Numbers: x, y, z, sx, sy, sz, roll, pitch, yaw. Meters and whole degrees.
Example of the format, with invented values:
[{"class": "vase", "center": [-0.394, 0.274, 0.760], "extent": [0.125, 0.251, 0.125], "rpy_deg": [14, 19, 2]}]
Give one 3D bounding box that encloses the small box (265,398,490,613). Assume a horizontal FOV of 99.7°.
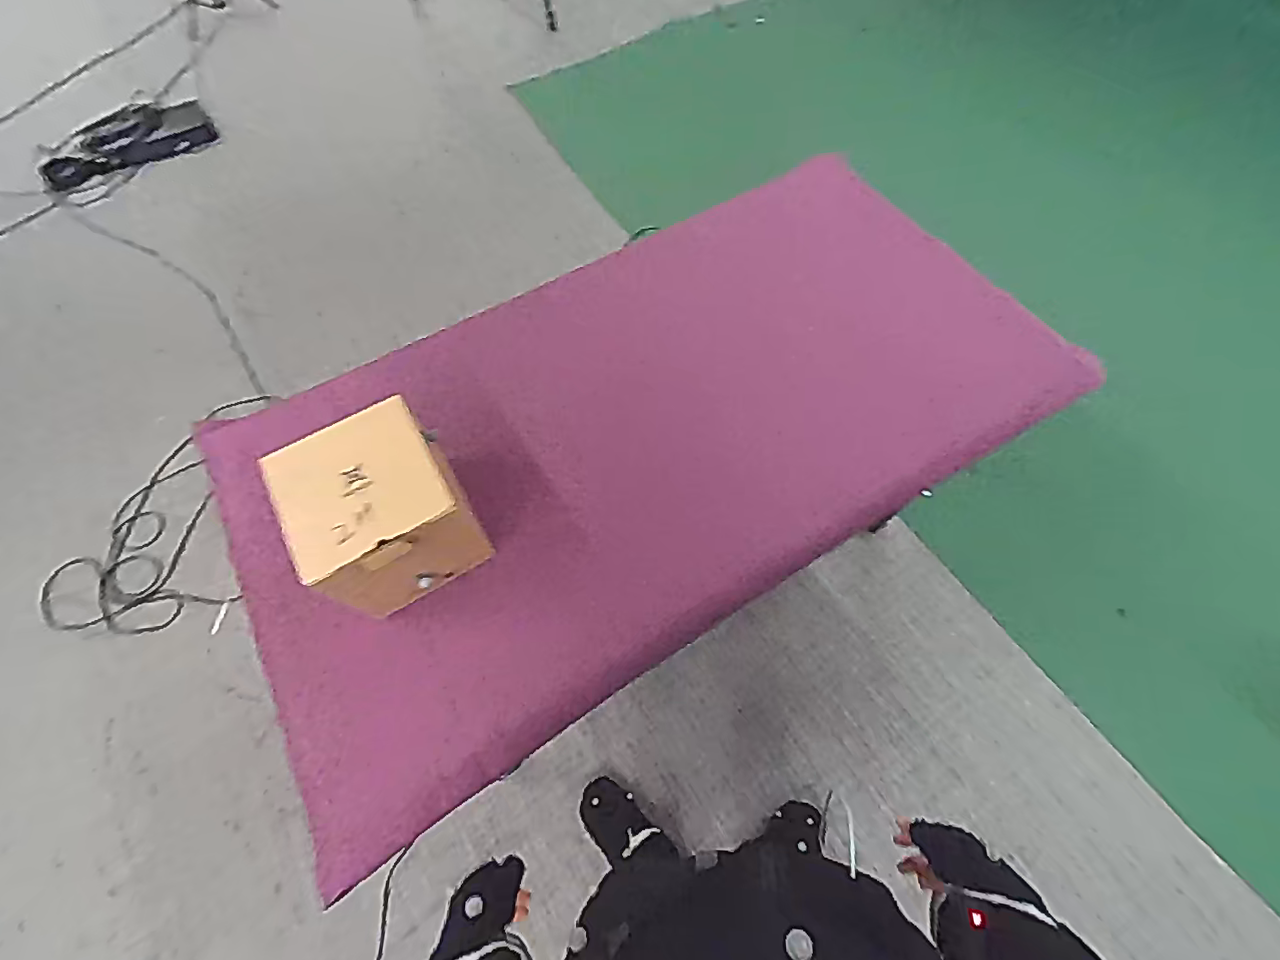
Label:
[{"class": "small box", "center": [-0.312, 0.038, 0.669], "extent": [0.168, 0.176, 0.179], "rpy_deg": [-30, 67, -12]}]
